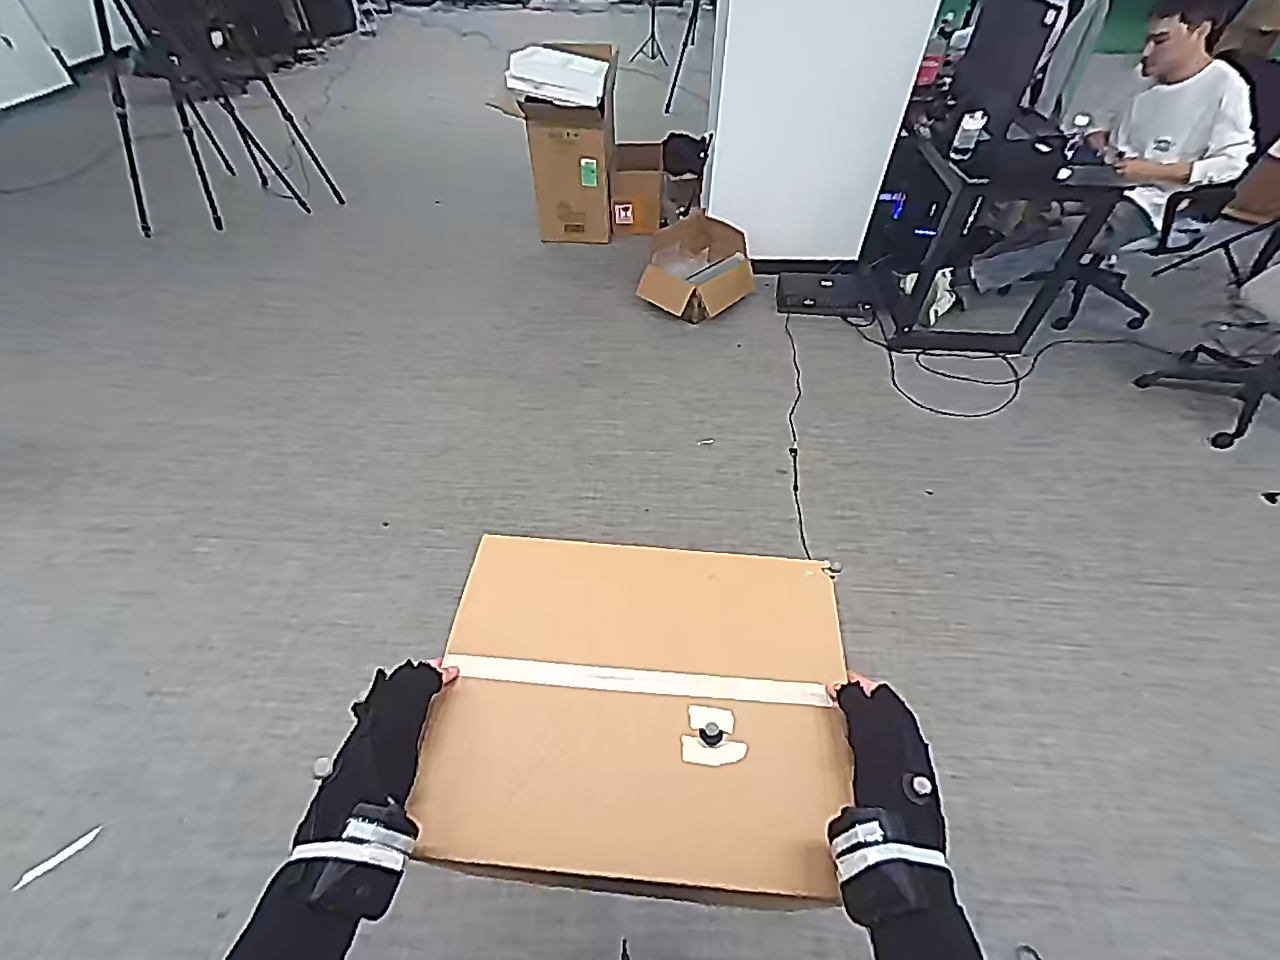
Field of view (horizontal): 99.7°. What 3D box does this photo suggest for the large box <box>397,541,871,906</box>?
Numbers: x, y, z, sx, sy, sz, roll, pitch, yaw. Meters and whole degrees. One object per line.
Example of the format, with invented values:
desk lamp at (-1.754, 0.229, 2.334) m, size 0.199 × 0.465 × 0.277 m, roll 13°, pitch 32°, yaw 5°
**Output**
large box at (-0.002, 0.298, 0.653) m, size 0.408 × 0.320 × 0.320 m, roll 5°, pitch 51°, yaw 2°
